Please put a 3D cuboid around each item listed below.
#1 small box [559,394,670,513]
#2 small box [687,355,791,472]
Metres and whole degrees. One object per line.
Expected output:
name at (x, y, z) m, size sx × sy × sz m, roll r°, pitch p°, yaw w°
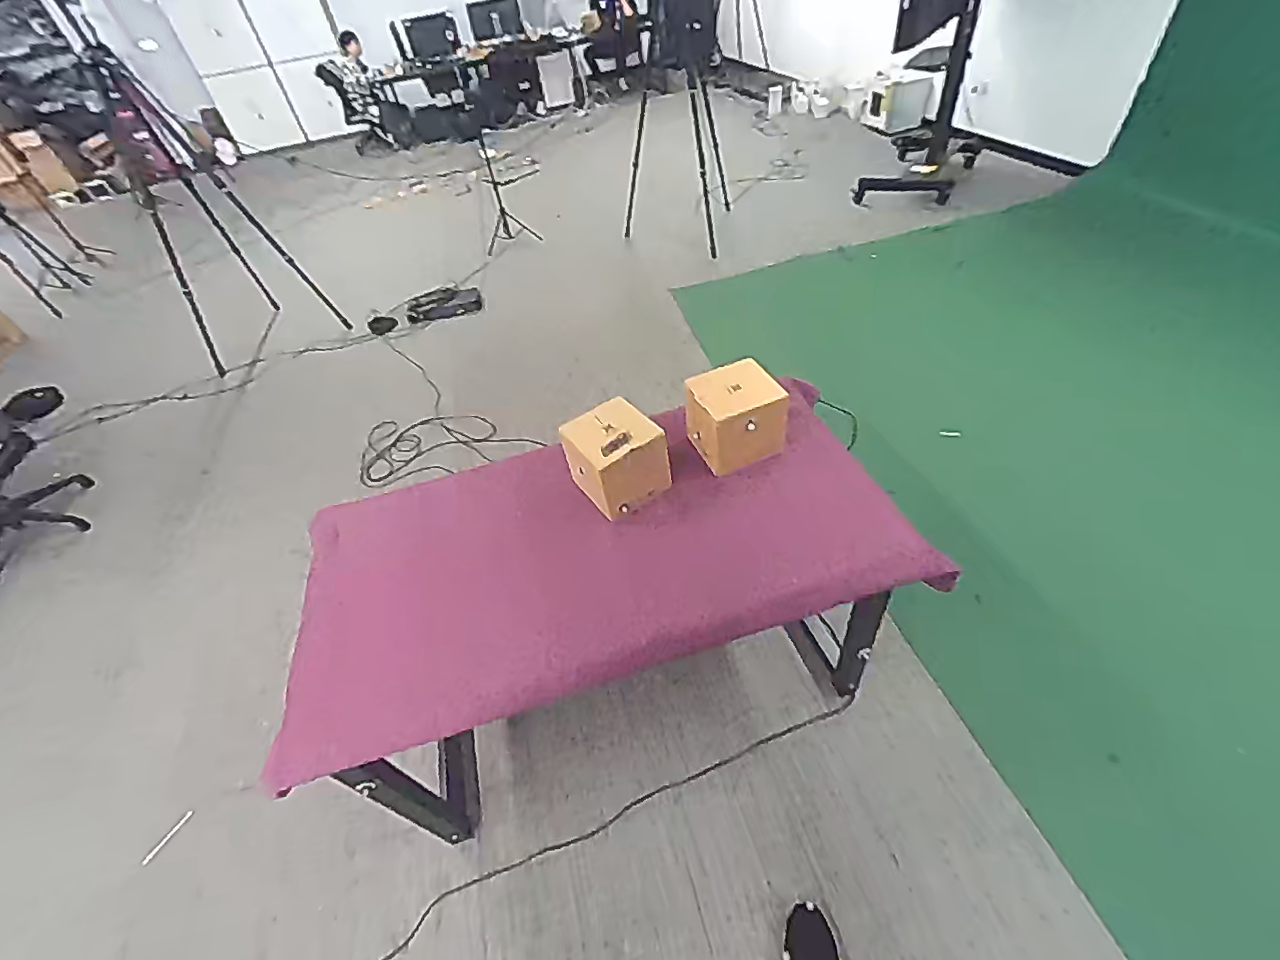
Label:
small box at (-0.050, -0.052, 1.185) m, size 0.168 × 0.176 × 0.179 m, roll -31°, pitch 49°, yaw -18°
small box at (0.221, -0.149, 1.227) m, size 0.179 × 0.176 × 0.168 m, roll -22°, pitch 47°, yaw -8°
